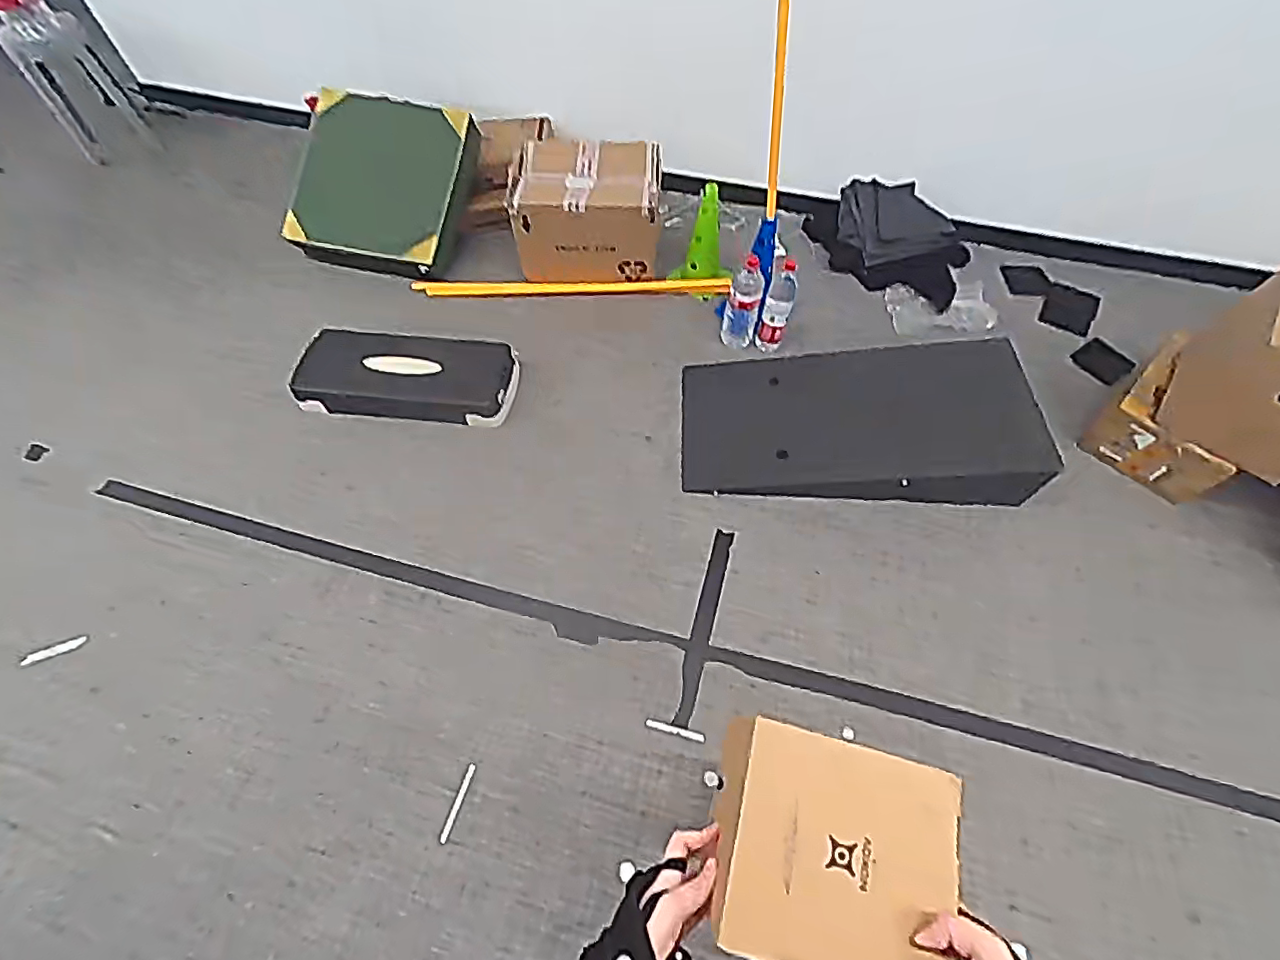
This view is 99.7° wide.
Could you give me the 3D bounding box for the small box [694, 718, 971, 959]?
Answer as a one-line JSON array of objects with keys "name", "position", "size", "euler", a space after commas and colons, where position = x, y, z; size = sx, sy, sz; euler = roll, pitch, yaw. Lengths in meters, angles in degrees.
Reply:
[{"name": "small box", "position": [0.156, 0.321, 0.479], "size": [0.179, 0.176, 0.168], "euler": [15, 66, 6]}]
